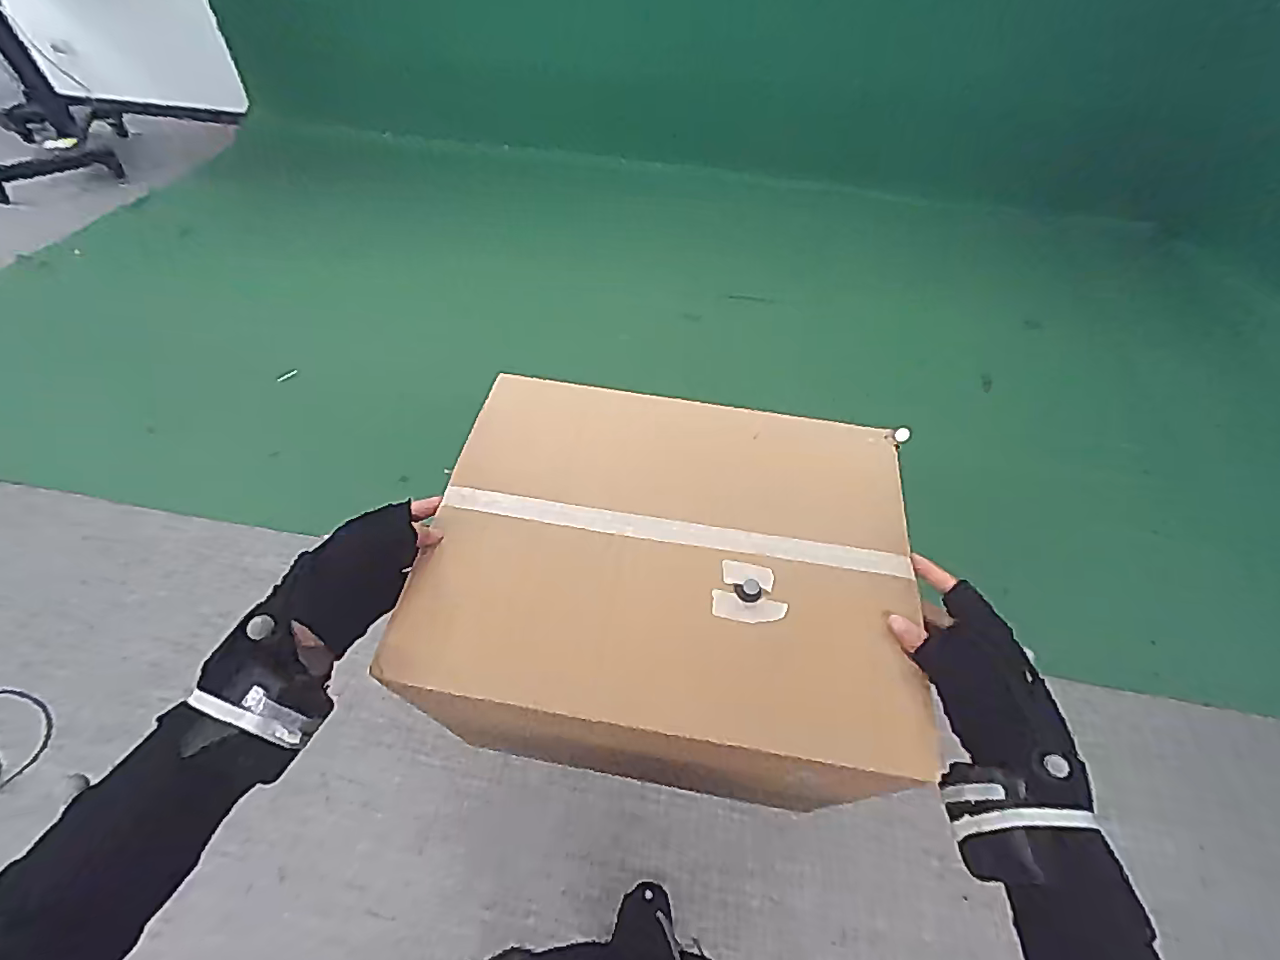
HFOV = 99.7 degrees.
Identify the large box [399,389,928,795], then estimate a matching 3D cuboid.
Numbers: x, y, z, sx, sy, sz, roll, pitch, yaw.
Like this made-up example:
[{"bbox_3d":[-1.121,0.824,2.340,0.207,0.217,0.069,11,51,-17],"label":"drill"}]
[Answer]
[{"bbox_3d":[0.026,0.134,0.602,0.408,0.320,0.320,8,56,4],"label":"large box"}]
